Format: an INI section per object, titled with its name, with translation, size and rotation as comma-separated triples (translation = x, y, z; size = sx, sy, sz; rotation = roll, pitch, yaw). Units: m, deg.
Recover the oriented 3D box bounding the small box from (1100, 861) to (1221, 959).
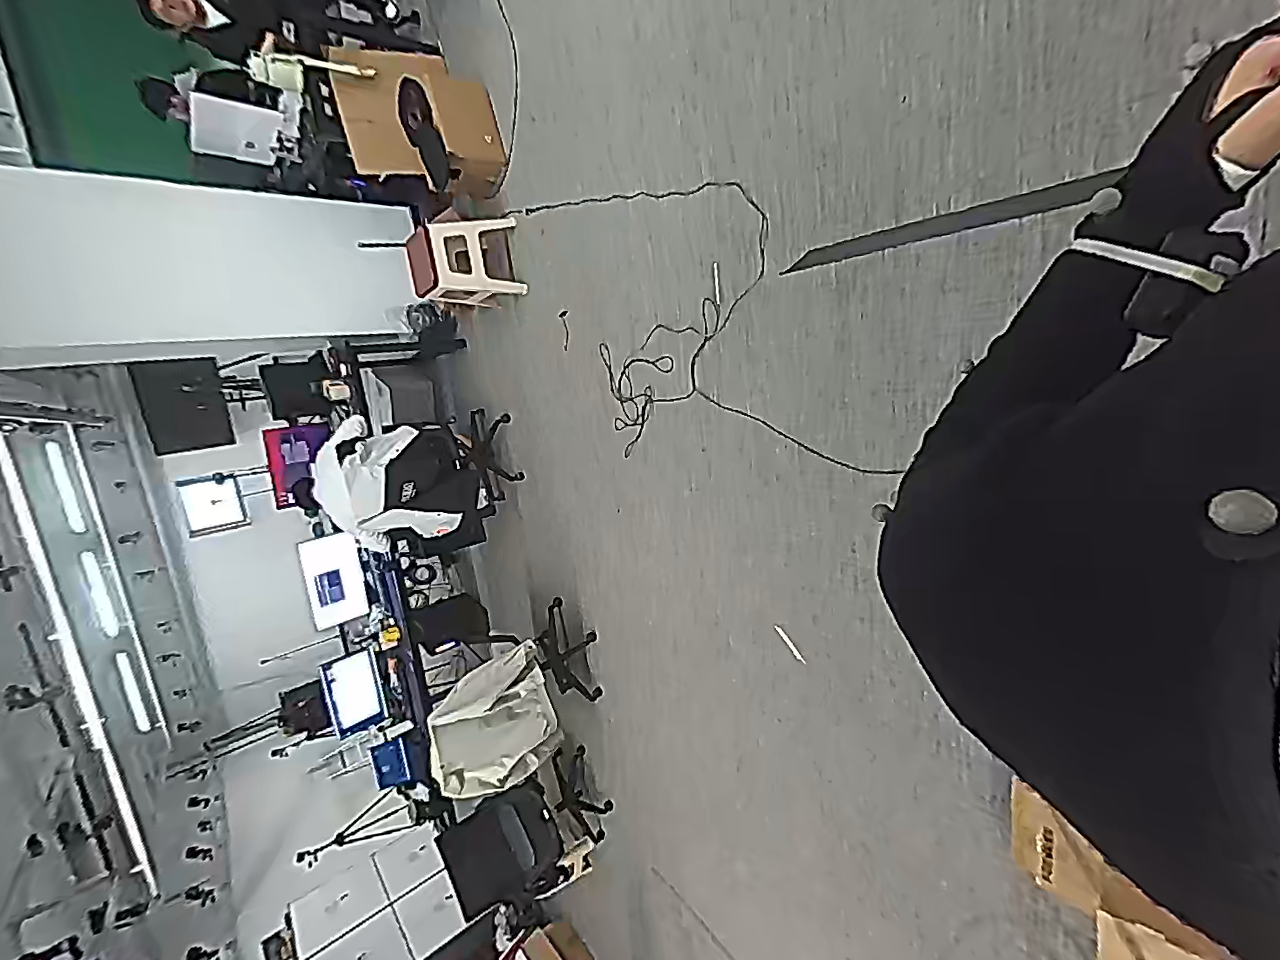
[small box]
translation = 1.094, 0.962, 1.138
size = 0.168, 0.176, 0.179
rotation = 4, 105, 51
